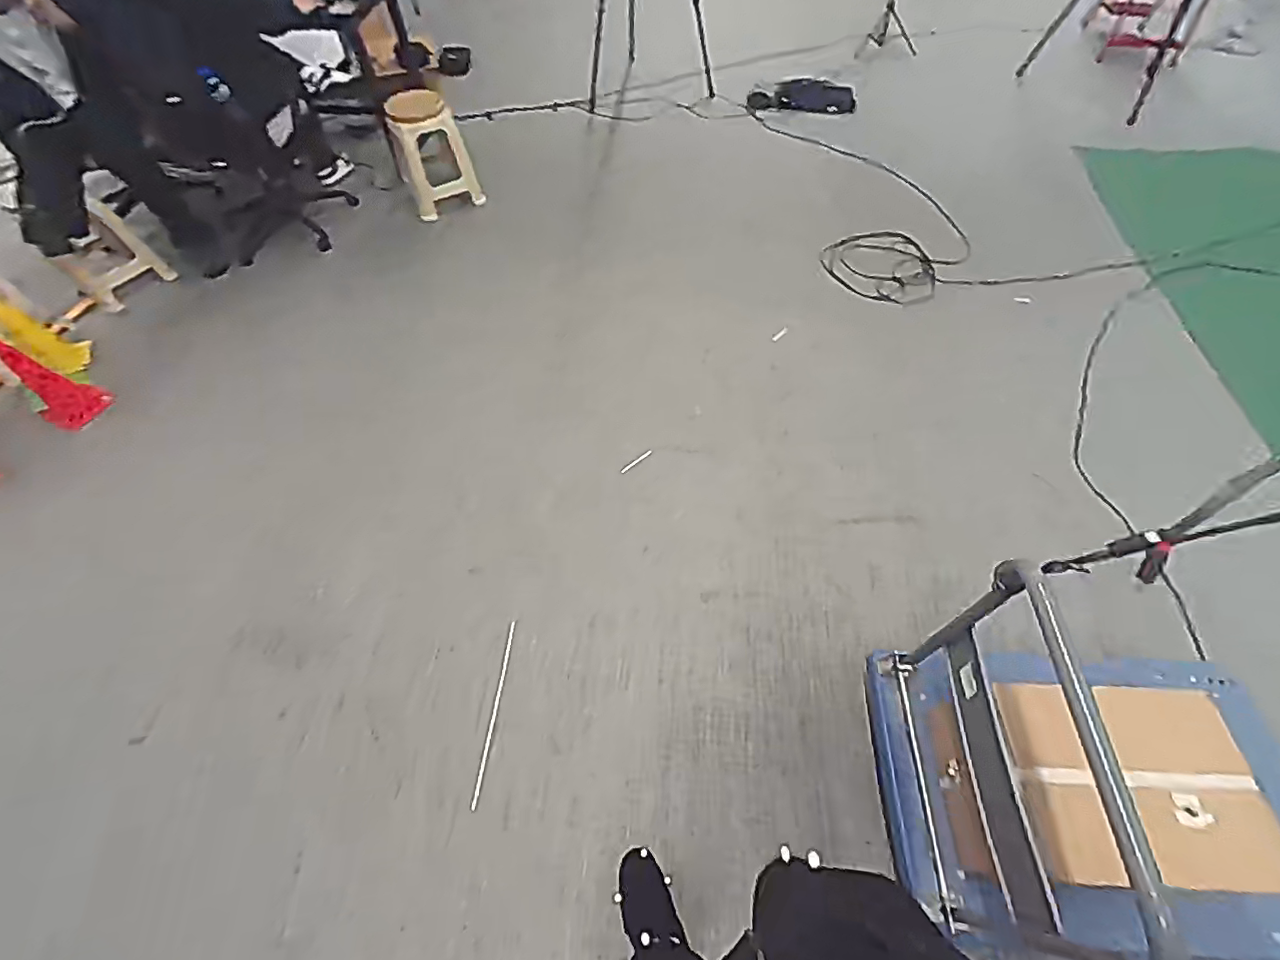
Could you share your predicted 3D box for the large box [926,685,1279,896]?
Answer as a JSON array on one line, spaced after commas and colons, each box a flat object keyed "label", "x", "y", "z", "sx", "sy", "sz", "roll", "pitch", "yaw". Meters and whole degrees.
[{"label": "large box", "x": 0.861, "y": 0.607, "z": 1.064, "sx": 0.408, "sy": 0.320, "sz": 0.320, "roll": 2, "pitch": 57, "yaw": 3}]
